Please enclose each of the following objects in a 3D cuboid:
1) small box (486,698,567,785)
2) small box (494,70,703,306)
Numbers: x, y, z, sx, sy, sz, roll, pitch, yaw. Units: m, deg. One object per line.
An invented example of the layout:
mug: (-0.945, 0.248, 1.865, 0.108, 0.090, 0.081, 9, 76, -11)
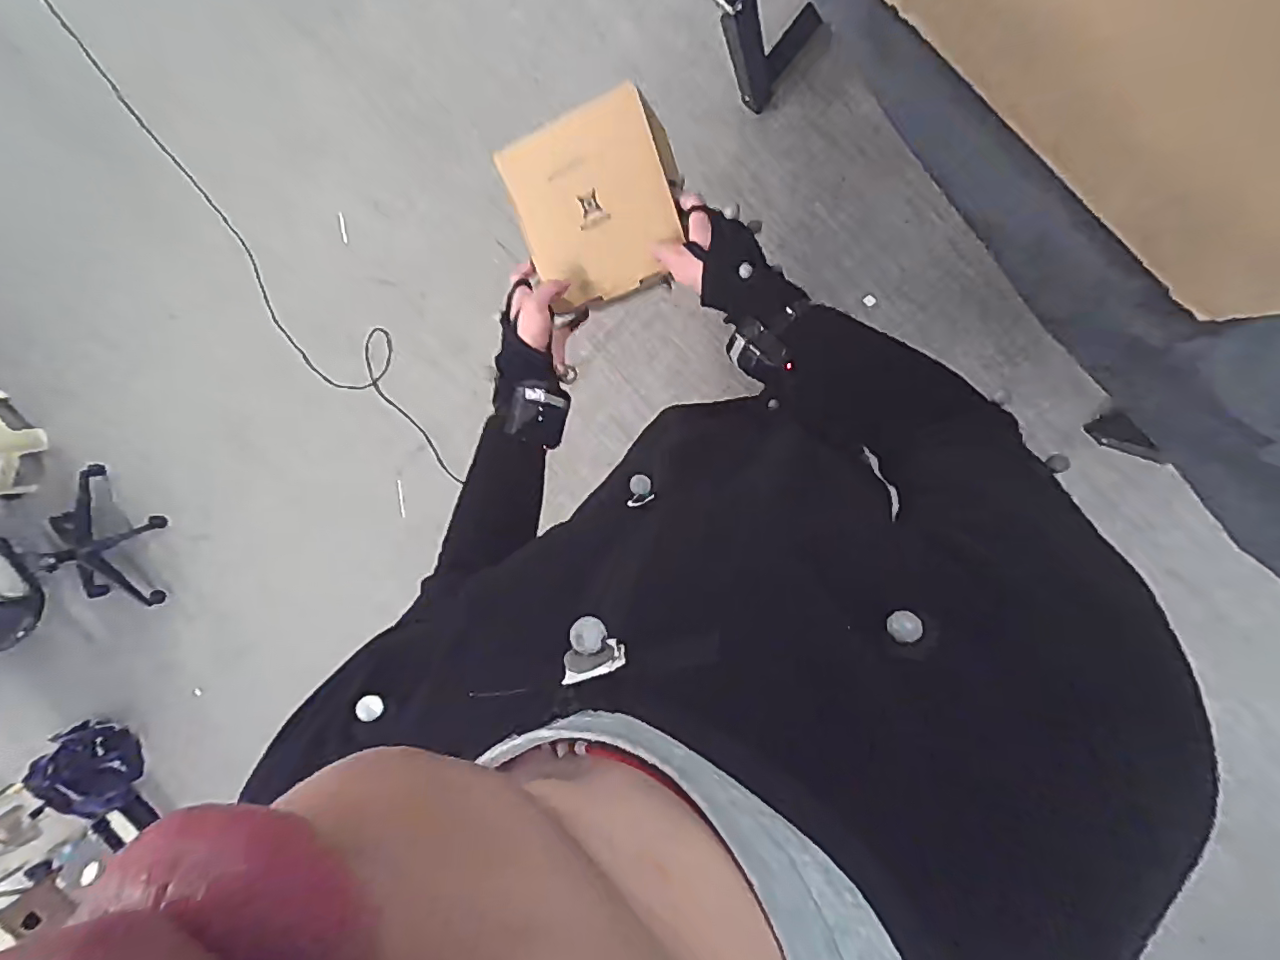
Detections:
small box: (-0.380, 0.884, 1.840, 0.179, 0.176, 0.168, -40, 90, 20)
small box: (-0.033, -0.318, 0.630, 0.168, 0.176, 0.179, -16, 104, 17)
